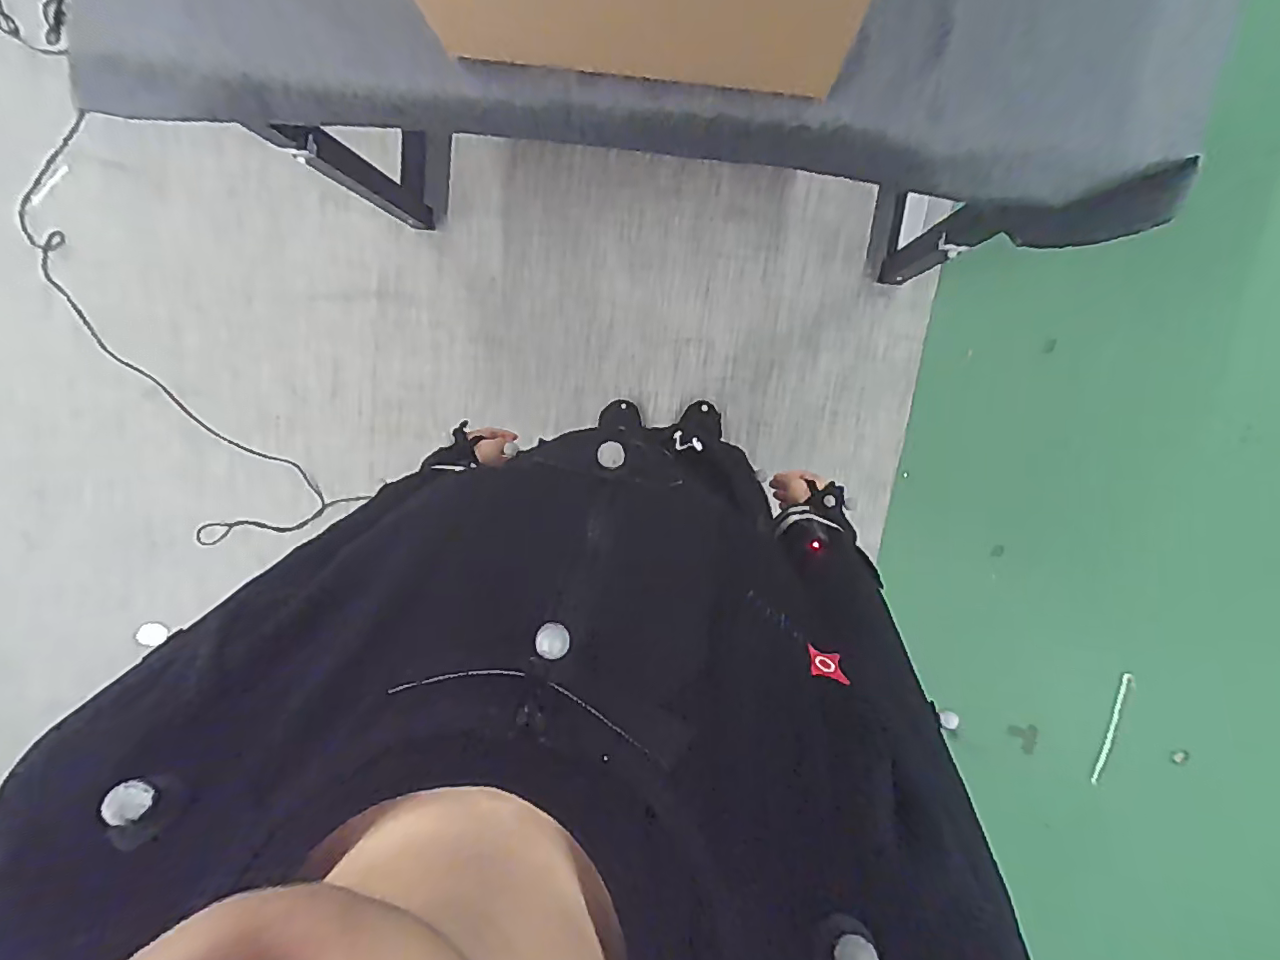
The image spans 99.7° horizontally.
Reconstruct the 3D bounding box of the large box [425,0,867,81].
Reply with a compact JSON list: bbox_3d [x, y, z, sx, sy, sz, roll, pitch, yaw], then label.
[{"bbox_3d":[0.005,-0.559,0.397,0.408,0.320,0.320,8,99,2],"label":"large box"}]
